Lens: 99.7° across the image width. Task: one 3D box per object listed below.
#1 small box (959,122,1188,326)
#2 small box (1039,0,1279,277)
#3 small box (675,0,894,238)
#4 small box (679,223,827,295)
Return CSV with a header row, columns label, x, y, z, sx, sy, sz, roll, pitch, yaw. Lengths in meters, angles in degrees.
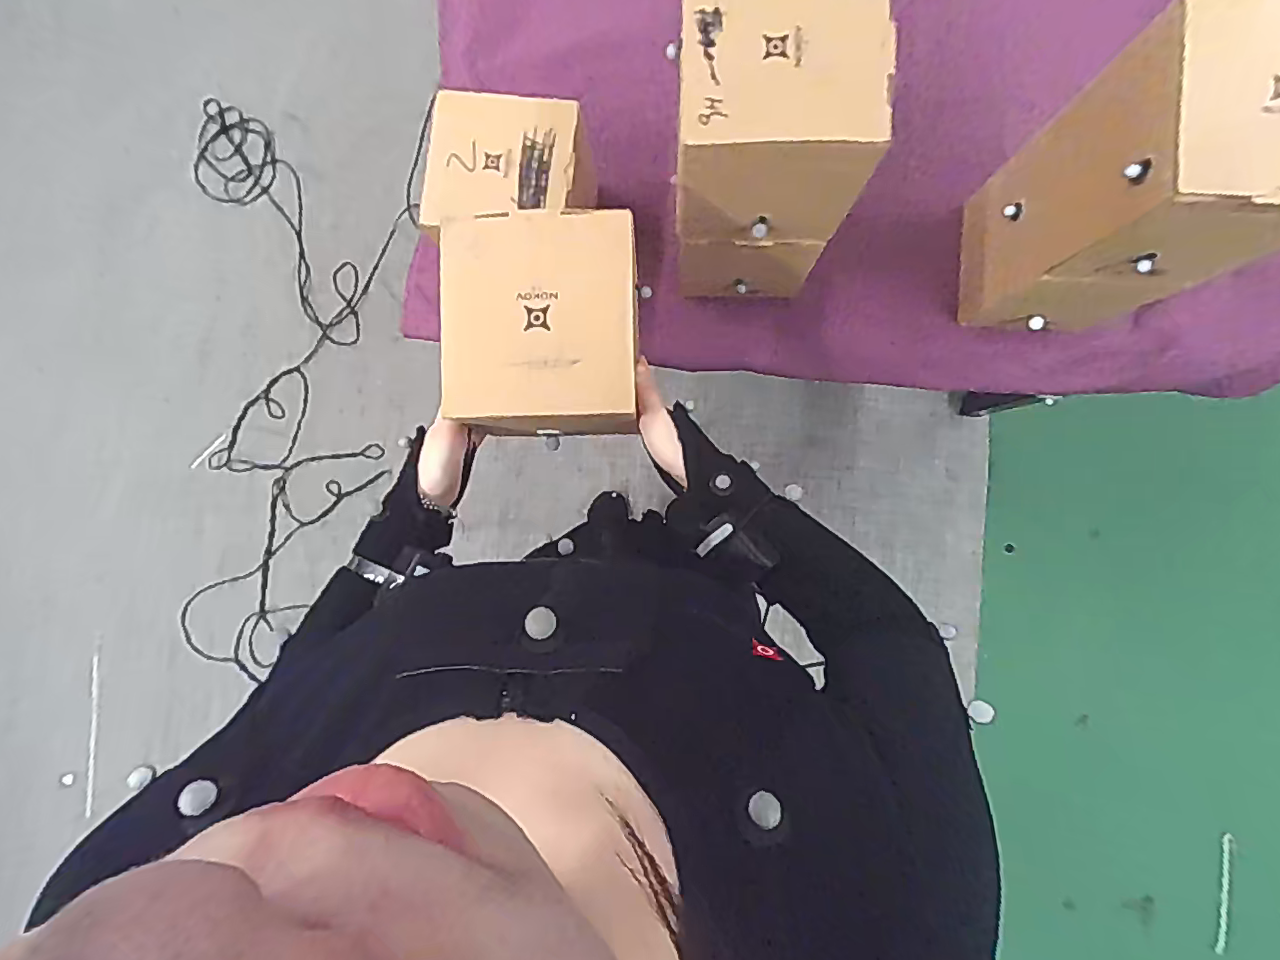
label,x,y,z,sx,sy,sz,roll,pitch,yaw
small box,0.528,-0.307,0.678,0.168,0.176,0.179,3,90,3
small box,0.521,-0.315,0.516,0.168,0.176,0.179,3,90,3
small box,0.127,-0.358,0.534,0.179,0.176,0.168,1,87,2
small box,0.136,-0.357,0.697,0.168,0.176,0.179,1,88,3
